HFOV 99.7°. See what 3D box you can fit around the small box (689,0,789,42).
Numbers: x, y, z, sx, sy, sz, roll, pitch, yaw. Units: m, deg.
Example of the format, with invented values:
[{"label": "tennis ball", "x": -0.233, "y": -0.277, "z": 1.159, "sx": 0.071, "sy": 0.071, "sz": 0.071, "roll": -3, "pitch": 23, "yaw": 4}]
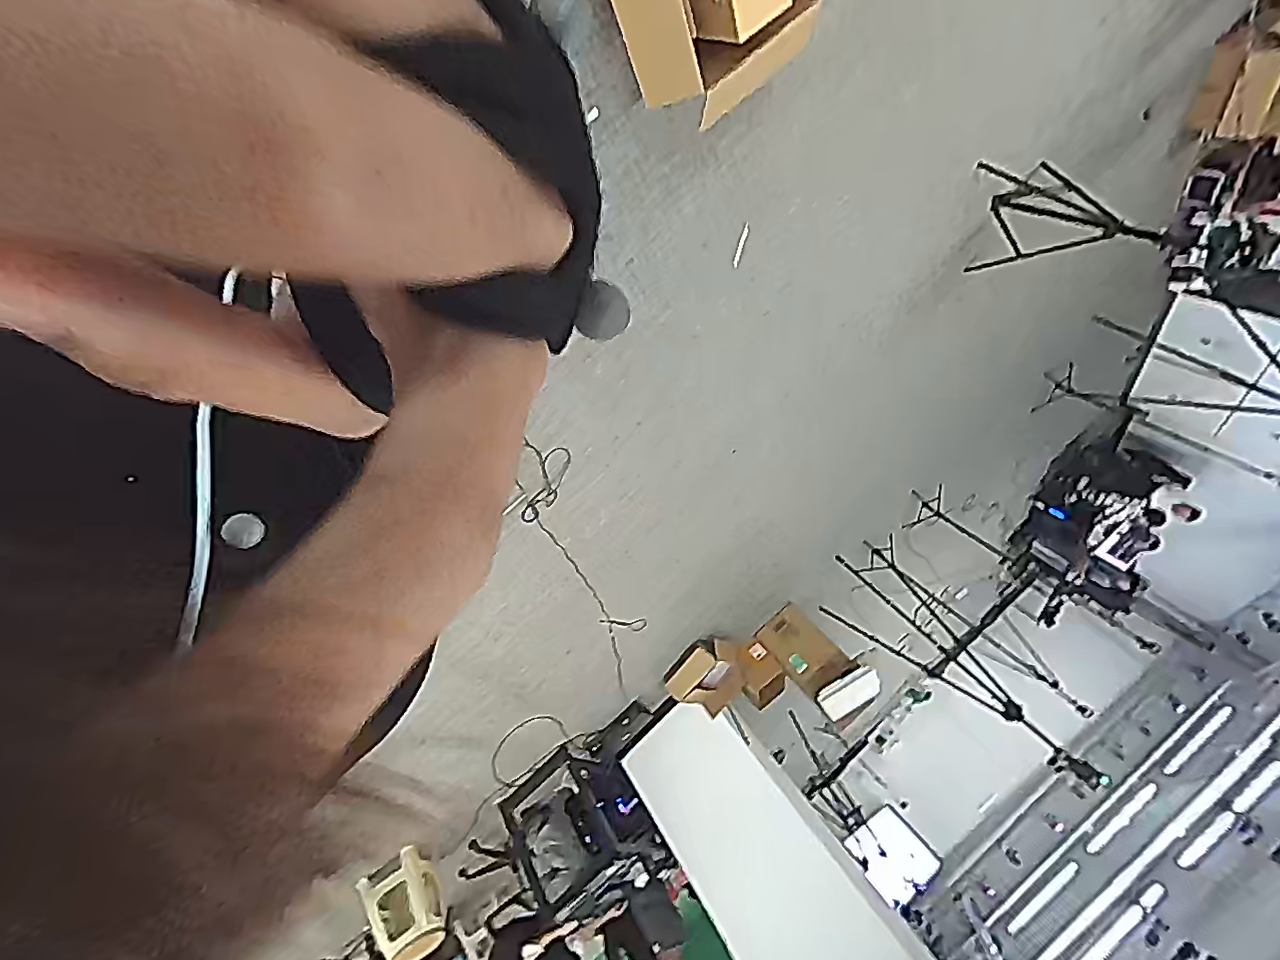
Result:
[{"label": "small box", "x": 0.217, "y": -1.165, "z": 1.250, "sx": 0.168, "sy": 0.176, "sz": 0.179, "roll": -40, "pitch": 141, "yaw": -3}]
